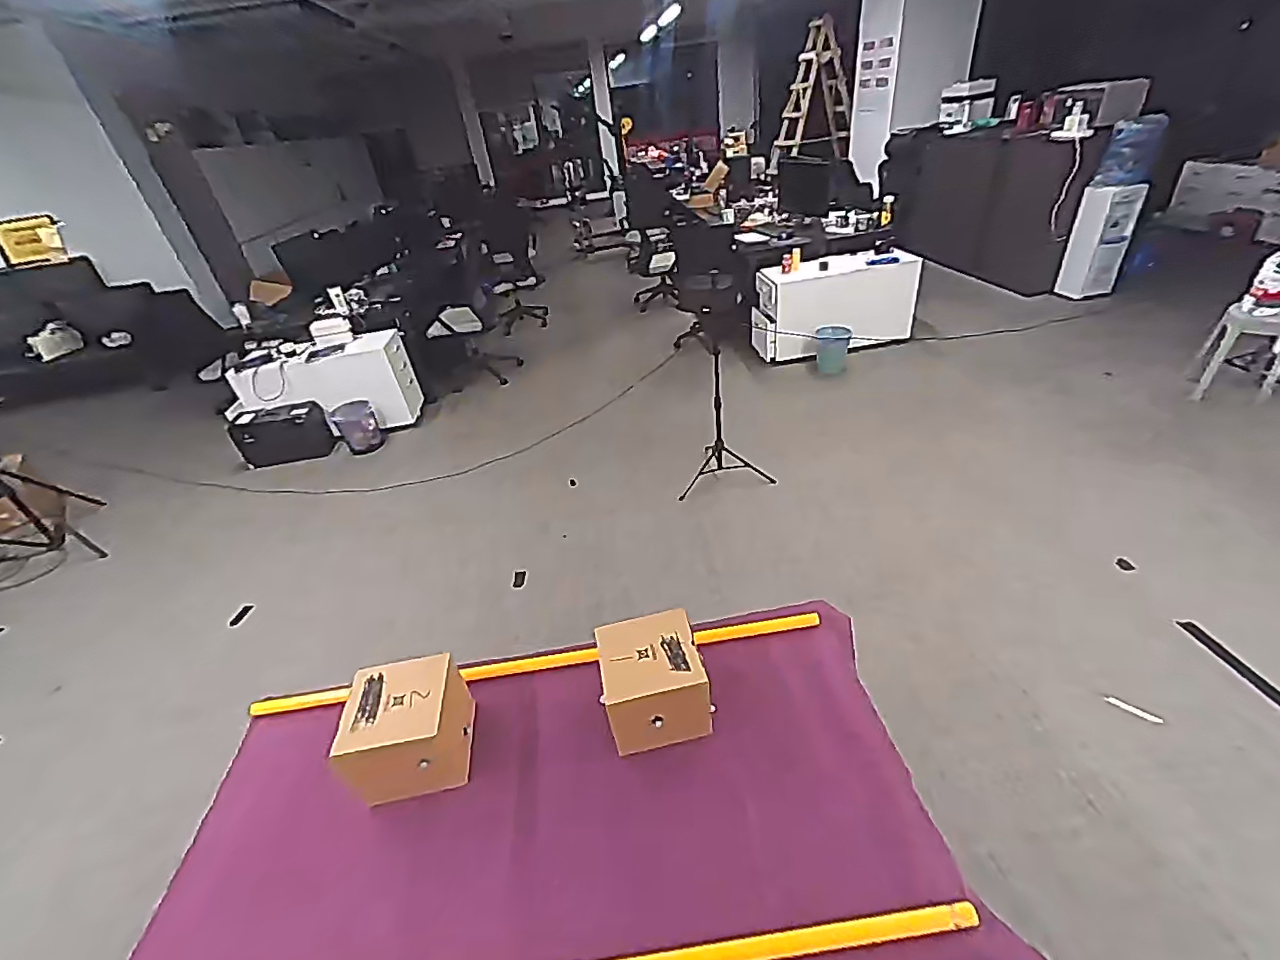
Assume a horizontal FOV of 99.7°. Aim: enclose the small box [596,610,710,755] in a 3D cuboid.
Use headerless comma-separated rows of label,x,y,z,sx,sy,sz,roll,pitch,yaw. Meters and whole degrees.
small box,0.025,0.369,0.986,0.179,0.176,0.168,-12,35,-3
